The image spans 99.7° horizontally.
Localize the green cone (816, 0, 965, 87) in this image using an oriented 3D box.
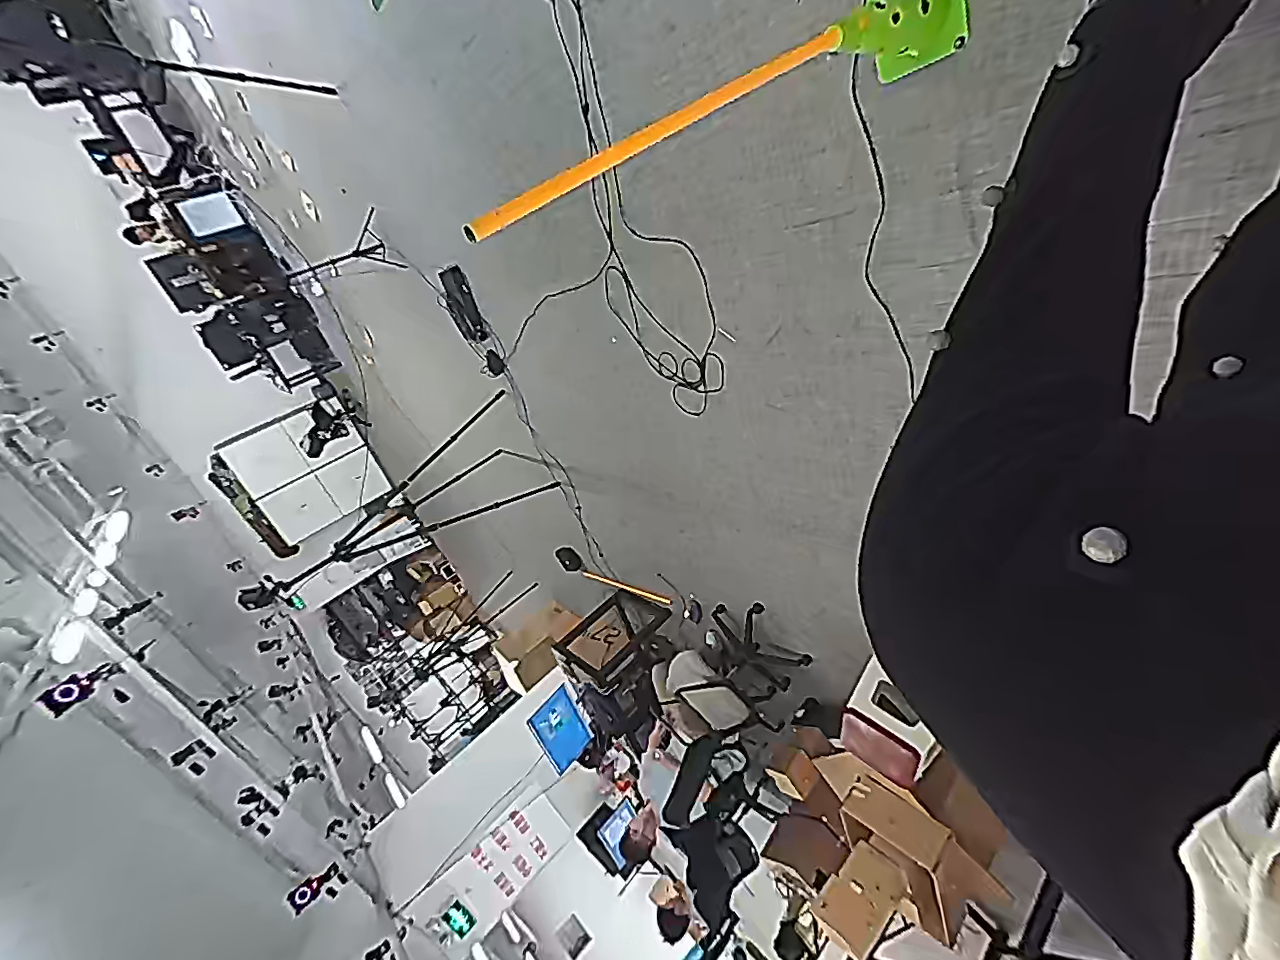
[{"bbox_3d":[0.492,-0.942,1.133,0.202,0.368,0.200,12,131,53],"label":"green cone"}]
